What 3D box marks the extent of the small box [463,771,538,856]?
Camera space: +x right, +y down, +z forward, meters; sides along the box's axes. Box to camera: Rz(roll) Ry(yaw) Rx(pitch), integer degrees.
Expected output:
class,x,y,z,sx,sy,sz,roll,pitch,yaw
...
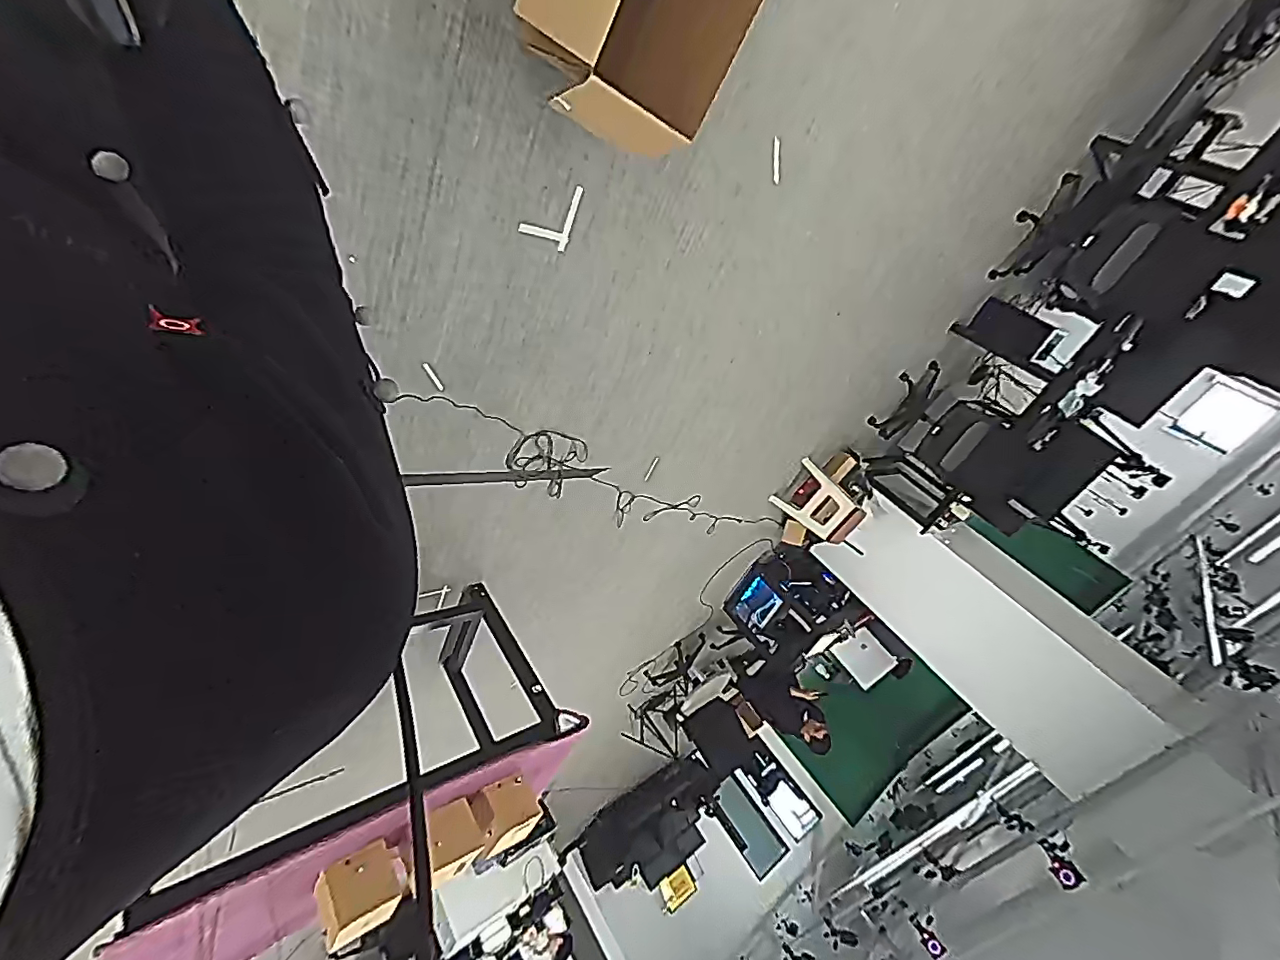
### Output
class,x,y,z,sx,sy,sz,roll,pitch,yaw
small box,-0.494,1.152,1.888,0.168,0.176,0.179,3,127,-49

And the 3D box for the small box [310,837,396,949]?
class,x,y,z,sx,sy,sz,roll,pitch,yaw
small box,-0.824,1.169,1.543,0.168,0.176,0.179,-4,132,-46
